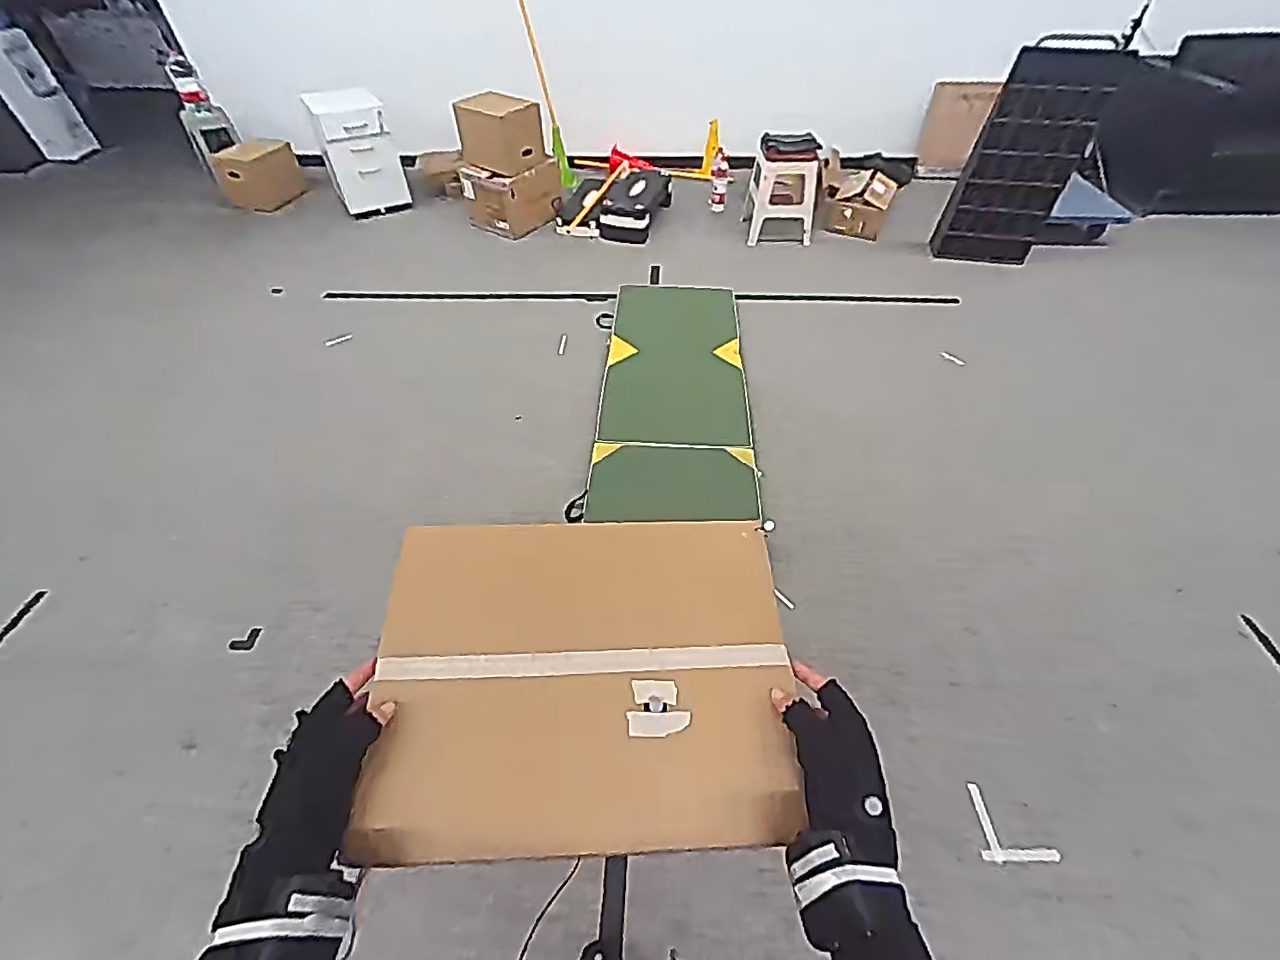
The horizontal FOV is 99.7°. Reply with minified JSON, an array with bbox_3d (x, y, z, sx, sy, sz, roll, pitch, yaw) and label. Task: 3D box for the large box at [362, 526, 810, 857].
[{"bbox_3d":[-0.059,0.268,0.677,0.408,0.320,0.320,0,57,-4],"label":"large box"}]
